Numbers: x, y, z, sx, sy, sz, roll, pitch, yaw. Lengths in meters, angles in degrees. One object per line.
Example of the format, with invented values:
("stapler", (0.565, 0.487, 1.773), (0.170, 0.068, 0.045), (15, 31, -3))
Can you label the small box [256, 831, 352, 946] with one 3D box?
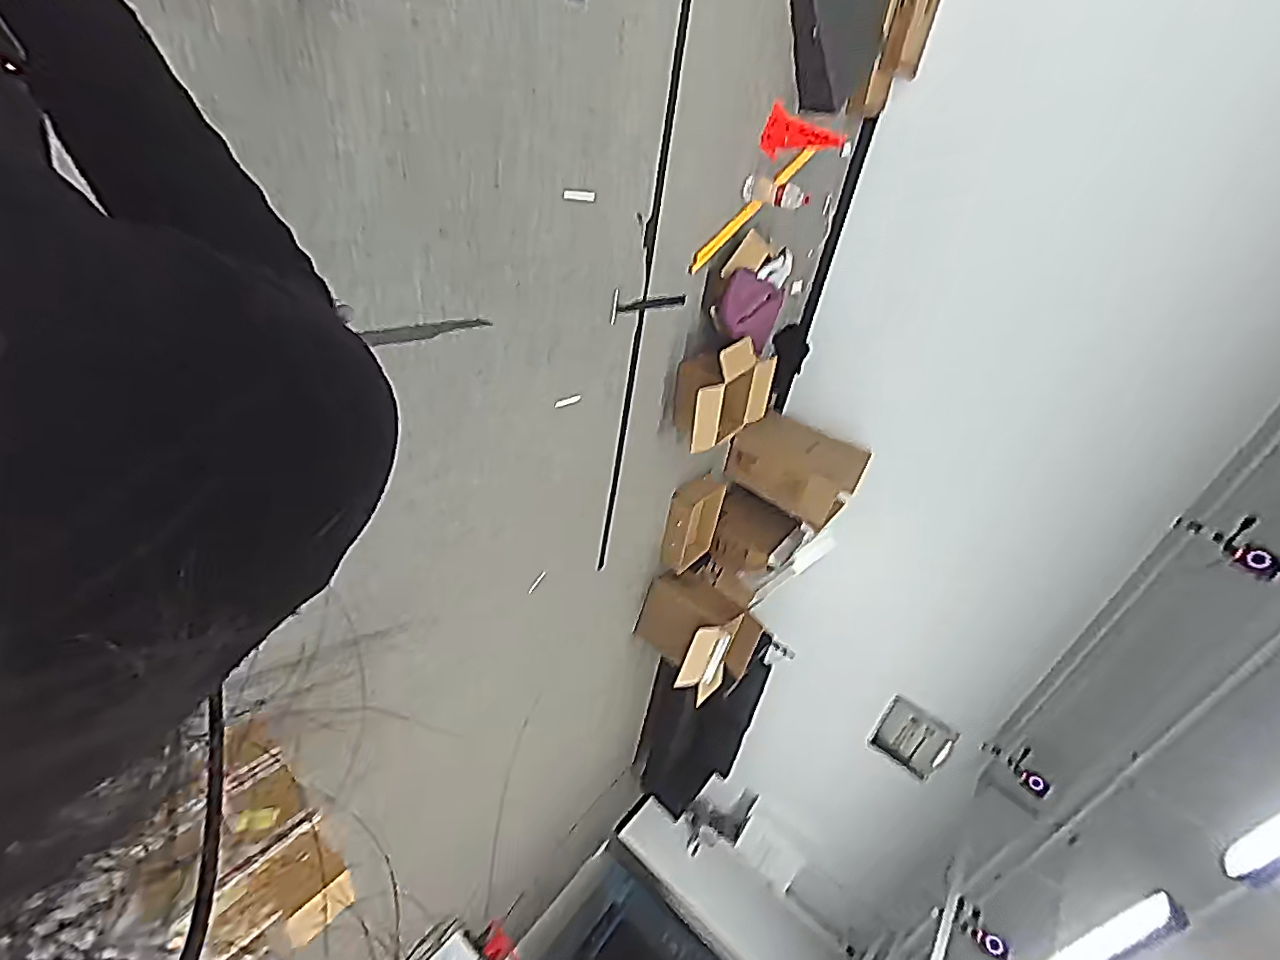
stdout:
("small box", (-0.954, 1.154, 1.540), (0.168, 0.176, 0.179), (-30, 135, -46))
